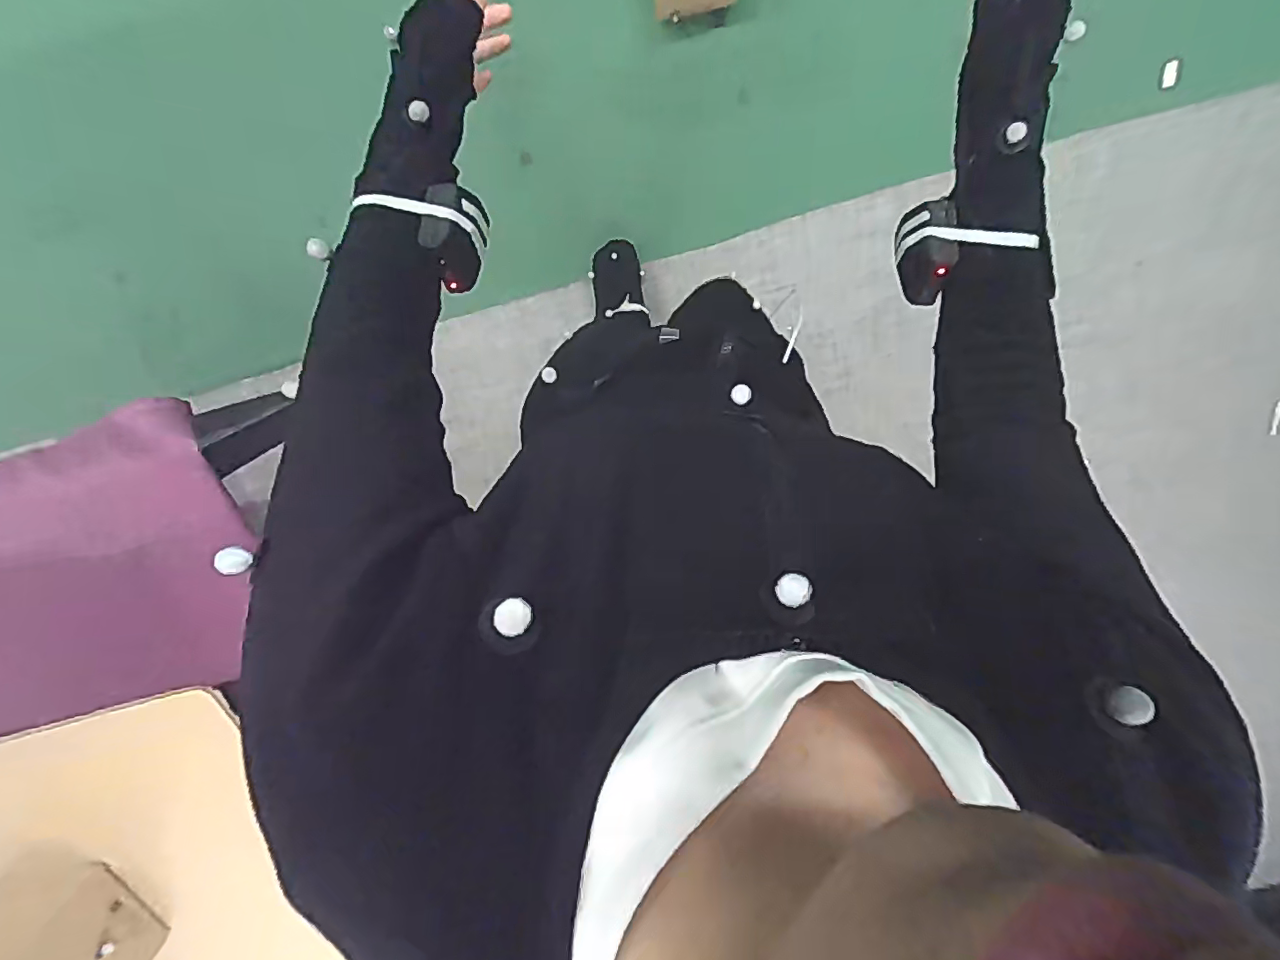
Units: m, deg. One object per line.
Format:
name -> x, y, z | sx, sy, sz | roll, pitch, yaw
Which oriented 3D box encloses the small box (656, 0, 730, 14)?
small box -> 0.105, -1.020, 1.015 | 0.168, 0.176, 0.179 | -12, 112, 1
